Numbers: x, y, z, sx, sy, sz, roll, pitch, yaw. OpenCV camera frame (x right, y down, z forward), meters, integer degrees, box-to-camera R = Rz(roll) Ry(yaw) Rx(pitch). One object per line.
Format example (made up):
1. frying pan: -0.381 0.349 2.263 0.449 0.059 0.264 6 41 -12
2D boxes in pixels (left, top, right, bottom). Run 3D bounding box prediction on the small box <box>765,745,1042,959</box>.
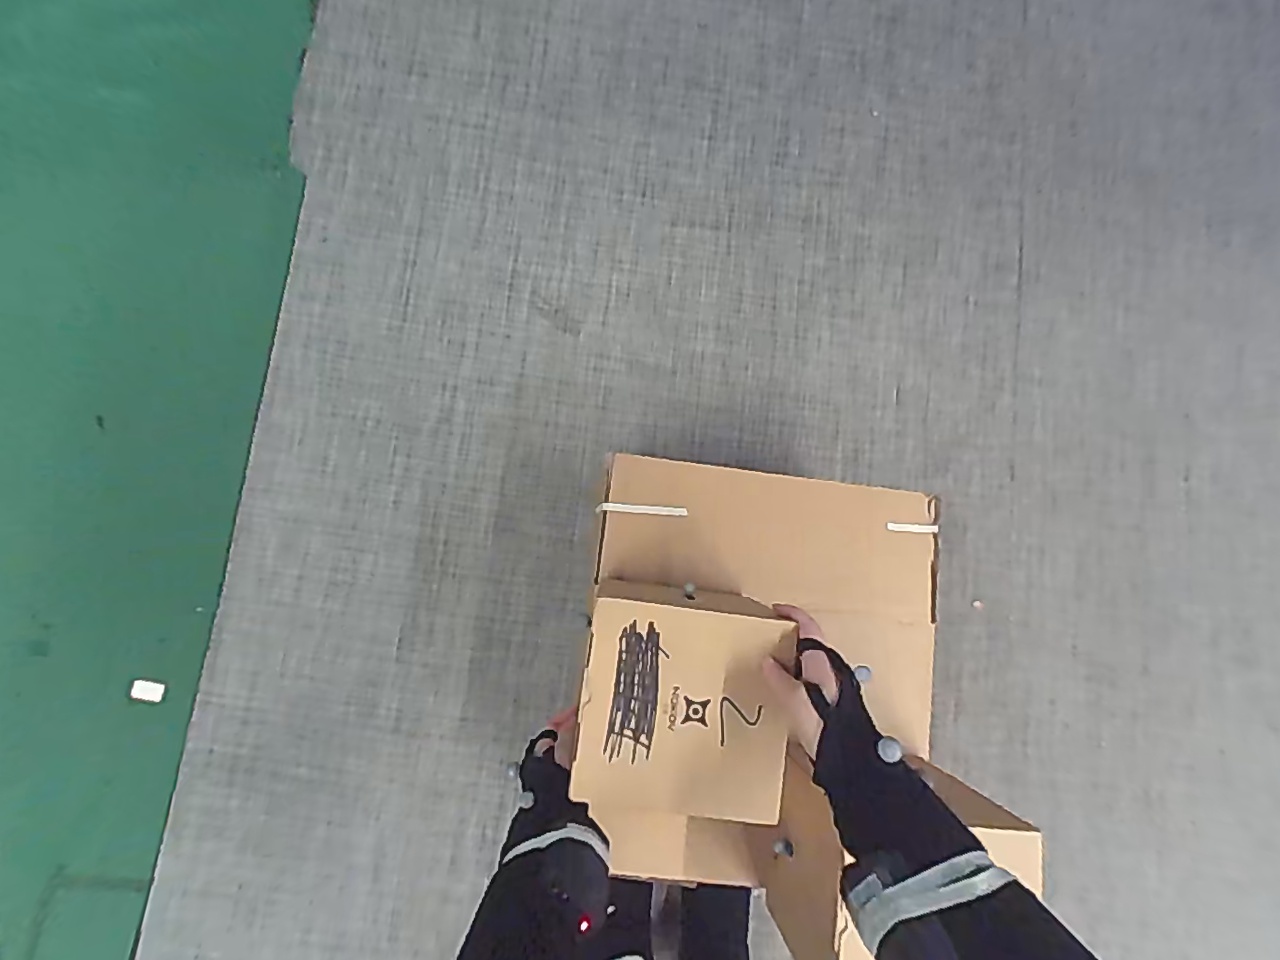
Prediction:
1. small box: 0.237 0.372 0.518 0.179 0.176 0.168 8 81 -3
